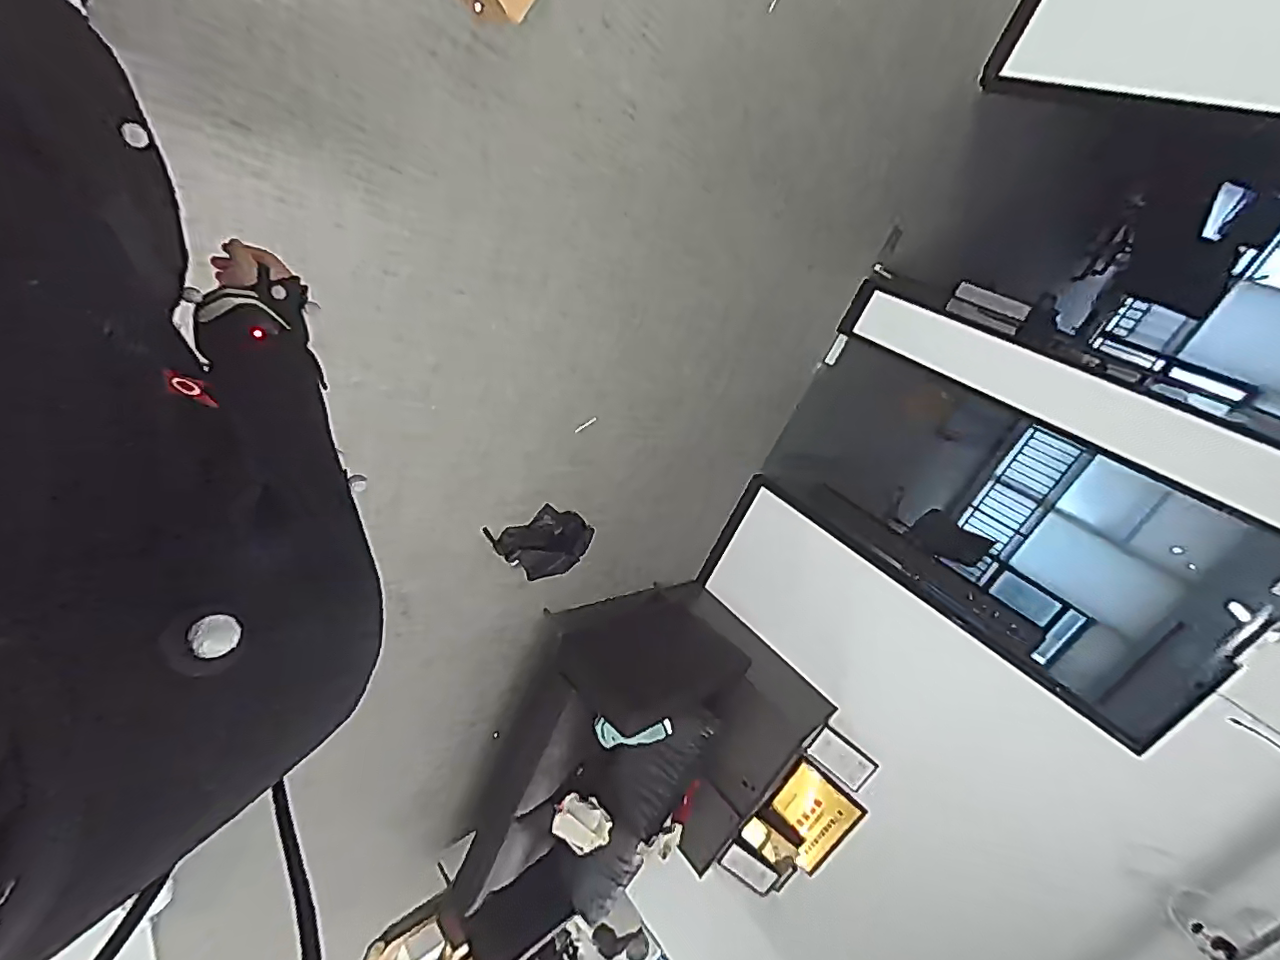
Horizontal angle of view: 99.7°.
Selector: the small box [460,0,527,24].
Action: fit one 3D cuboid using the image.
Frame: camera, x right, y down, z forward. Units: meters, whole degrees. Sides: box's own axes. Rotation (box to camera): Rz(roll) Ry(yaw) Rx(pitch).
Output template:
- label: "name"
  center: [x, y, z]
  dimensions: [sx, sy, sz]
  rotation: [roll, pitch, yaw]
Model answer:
- label: "small box"
  center: [-0.287, -0.998, 0.996]
  dimensions: [0.179, 0.176, 0.168]
  rotation: [-55, 148, 7]
